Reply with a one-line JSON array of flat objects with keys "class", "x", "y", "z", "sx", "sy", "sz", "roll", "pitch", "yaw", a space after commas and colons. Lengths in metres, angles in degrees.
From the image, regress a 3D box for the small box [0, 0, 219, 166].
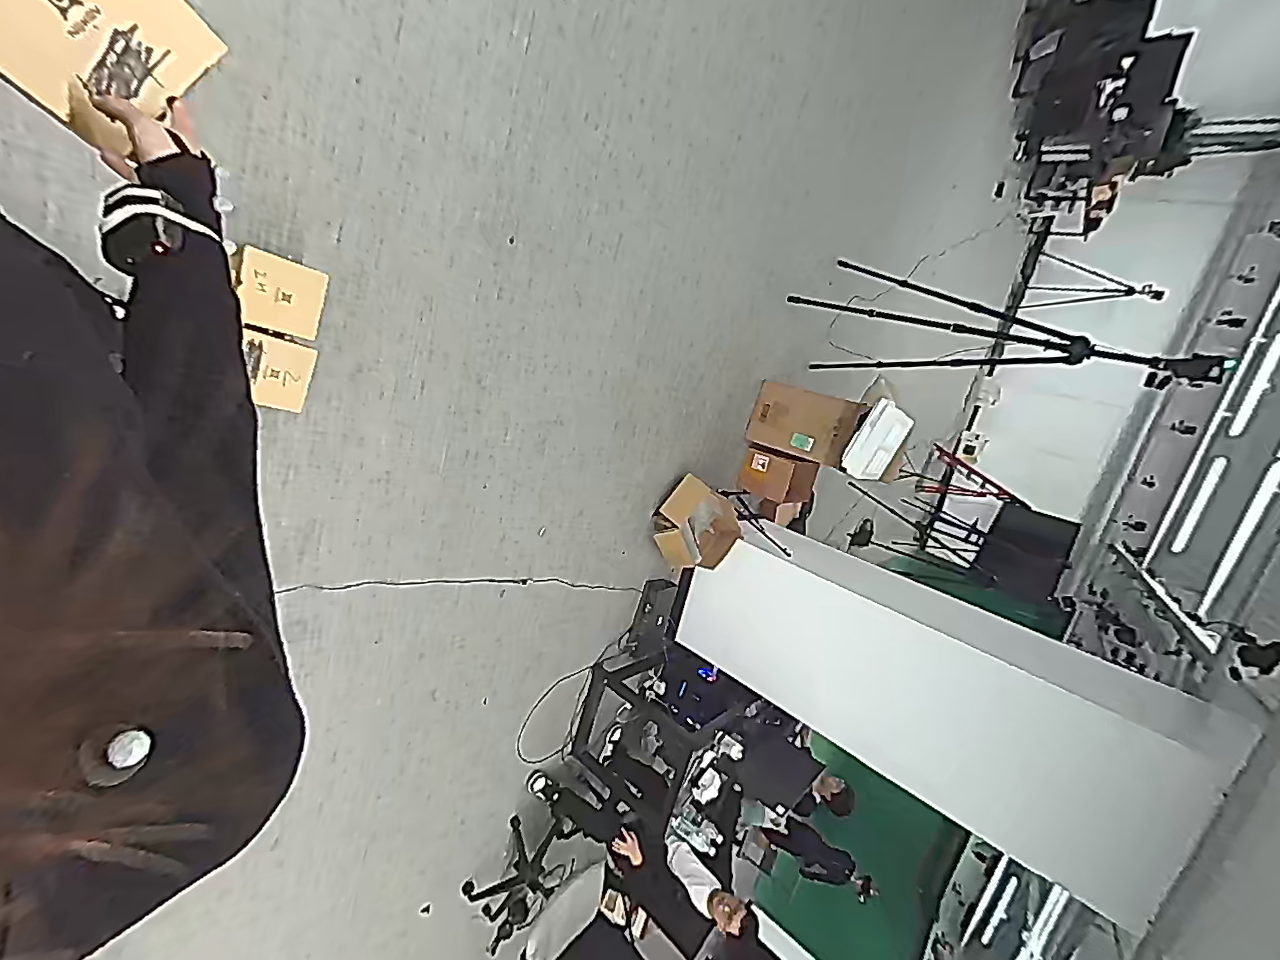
[{"class": "small box", "x": -0.571, "y": -0.446, "z": 0.521, "sx": 0.168, "sy": 0.176, "sz": 0.179, "roll": -55, "pitch": 147, "yaw": -7}]
